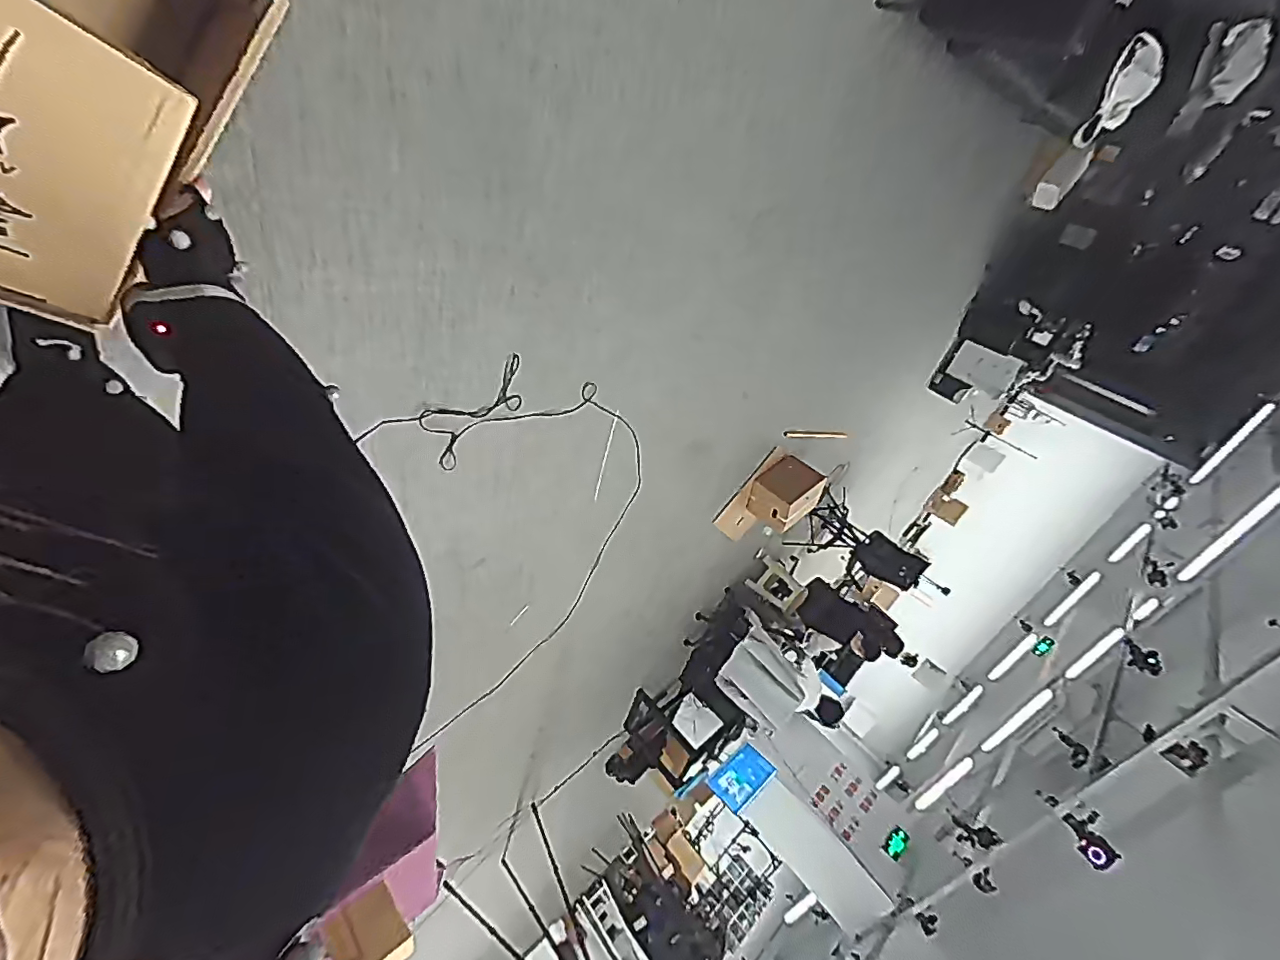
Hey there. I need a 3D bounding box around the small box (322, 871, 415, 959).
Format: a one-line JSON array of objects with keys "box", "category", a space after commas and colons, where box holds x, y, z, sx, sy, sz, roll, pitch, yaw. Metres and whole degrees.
[{"box": [-0.739, 1.225, 1.477, 0.179, 0.176, 0.168, -21, 140, -39], "category": "small box"}]

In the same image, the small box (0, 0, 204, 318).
[{"box": [-0.442, -0.247, 0.363, 0.179, 0.176, 0.168, -57, 150, 10], "category": "small box"}]
